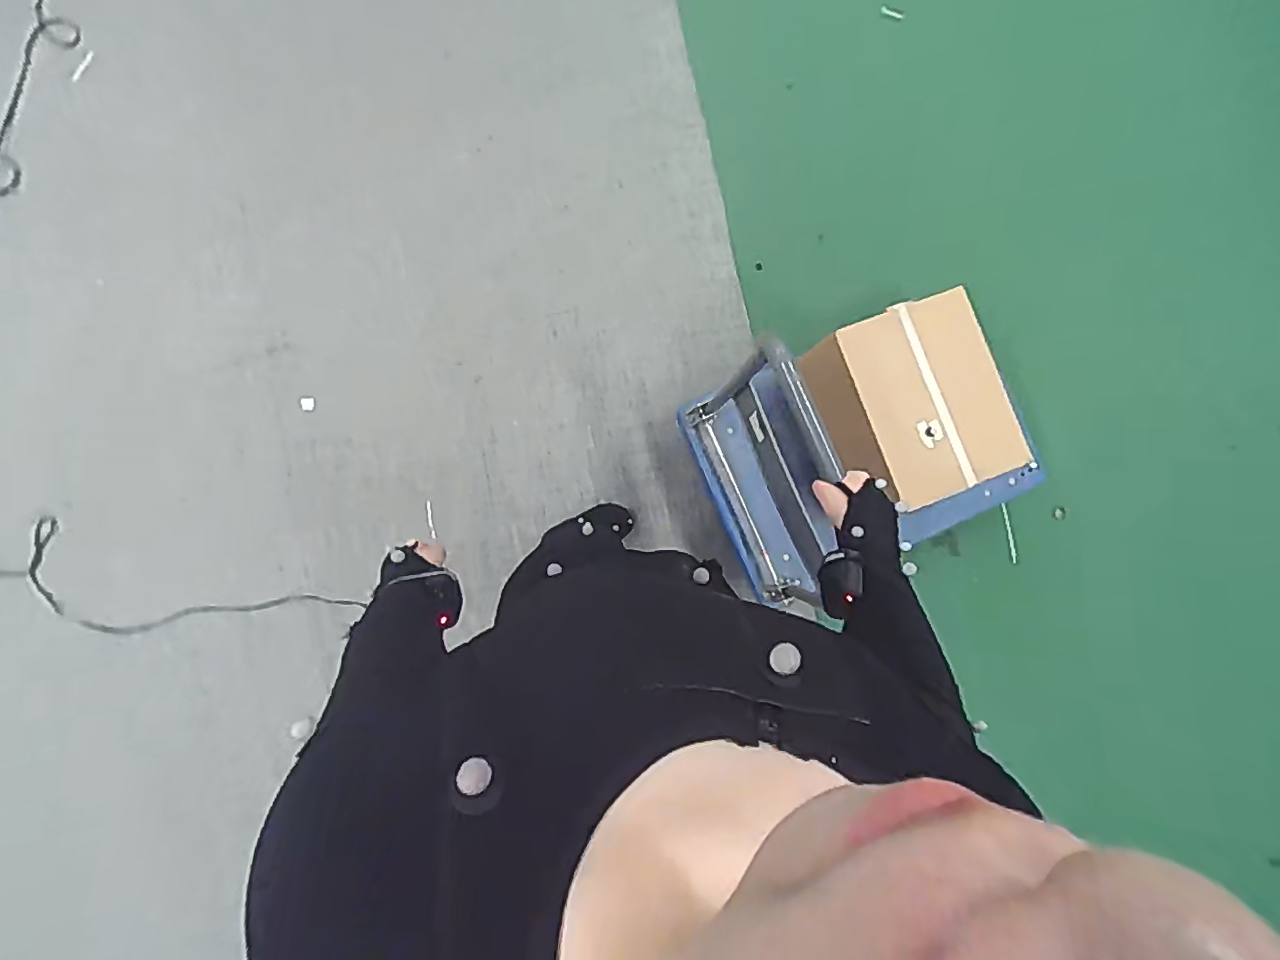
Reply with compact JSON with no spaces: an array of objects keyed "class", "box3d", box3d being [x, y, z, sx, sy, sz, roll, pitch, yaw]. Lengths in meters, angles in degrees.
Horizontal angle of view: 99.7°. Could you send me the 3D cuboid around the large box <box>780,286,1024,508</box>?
[{"class":"large box","box3d":[0.590,-0.174,1.285,0.320,0.320,0.408,-20,88,-7]}]
